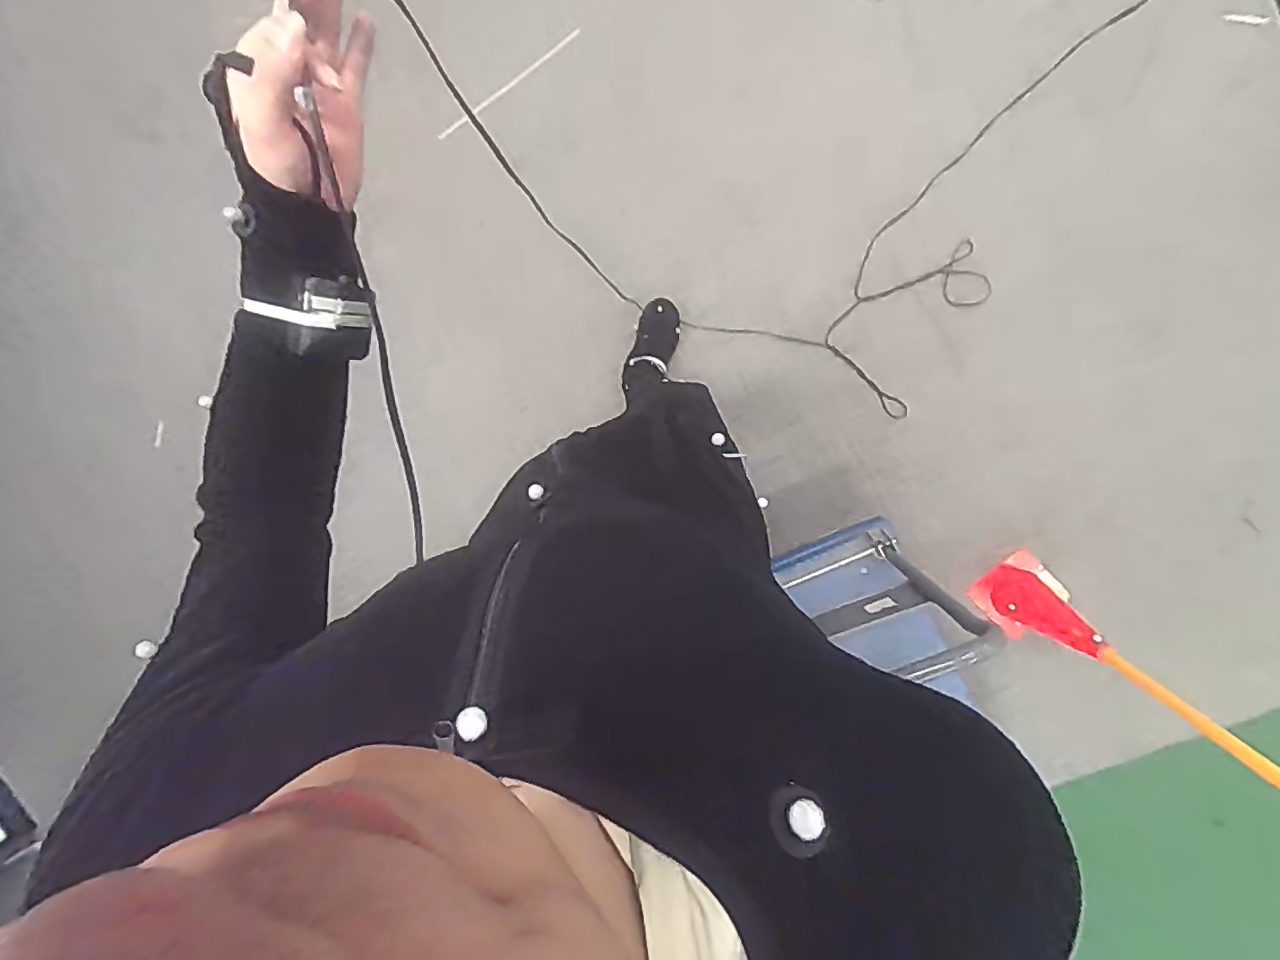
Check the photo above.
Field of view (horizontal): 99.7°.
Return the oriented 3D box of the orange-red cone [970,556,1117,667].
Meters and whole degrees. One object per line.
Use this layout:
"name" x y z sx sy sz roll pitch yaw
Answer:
"orange-red cone" 1.038 0.360 1.347 0.199 0.360 0.198 -43 93 11
